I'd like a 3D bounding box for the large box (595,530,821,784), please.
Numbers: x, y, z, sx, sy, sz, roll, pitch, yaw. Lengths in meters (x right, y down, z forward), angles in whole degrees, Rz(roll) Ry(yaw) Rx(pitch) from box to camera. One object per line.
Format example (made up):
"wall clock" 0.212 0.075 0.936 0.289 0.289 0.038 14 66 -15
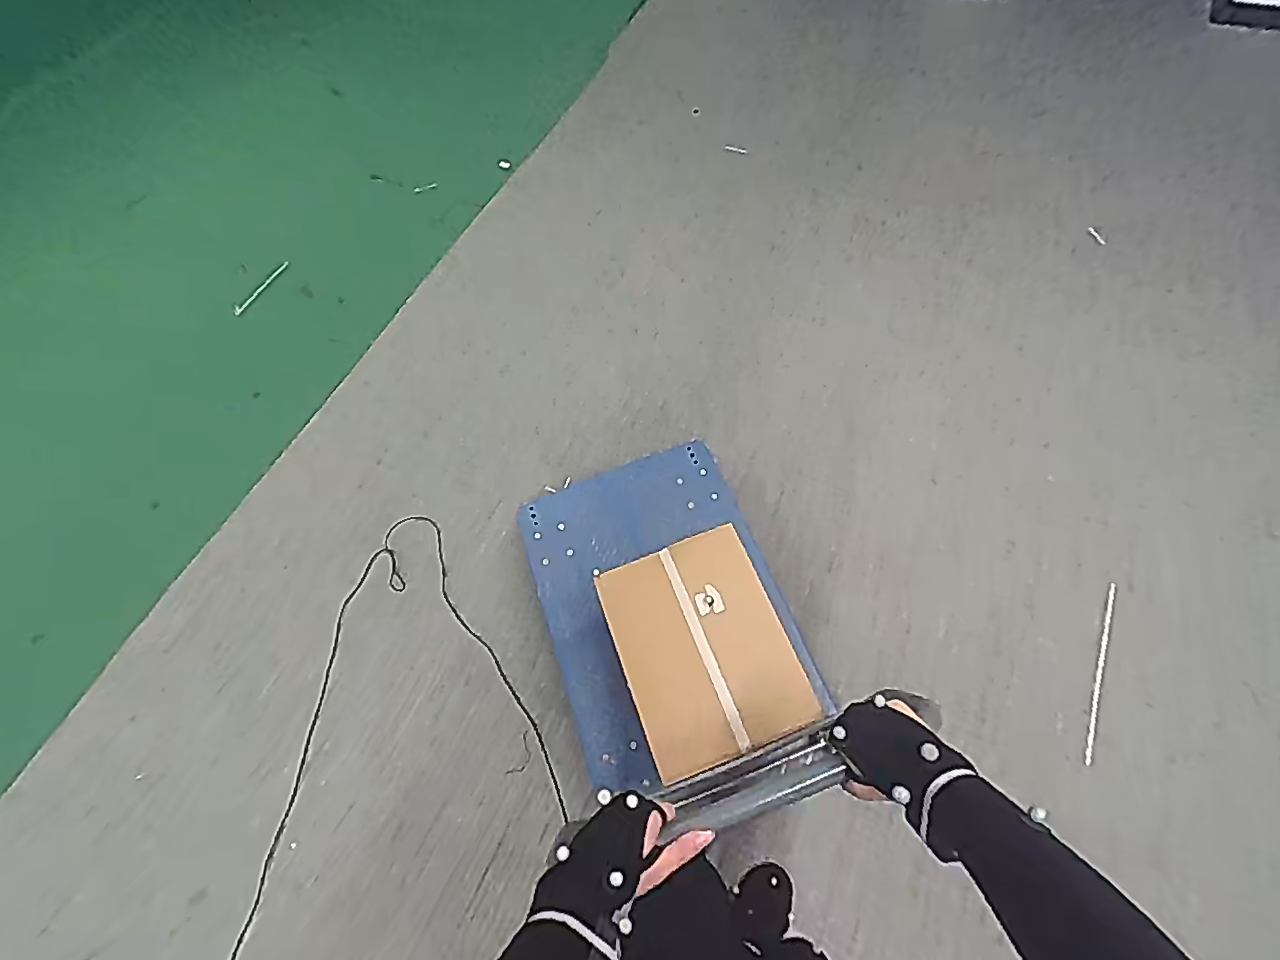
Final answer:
"large box" 0.136 0.389 1.183 0.320 0.320 0.408 -21 62 -4
